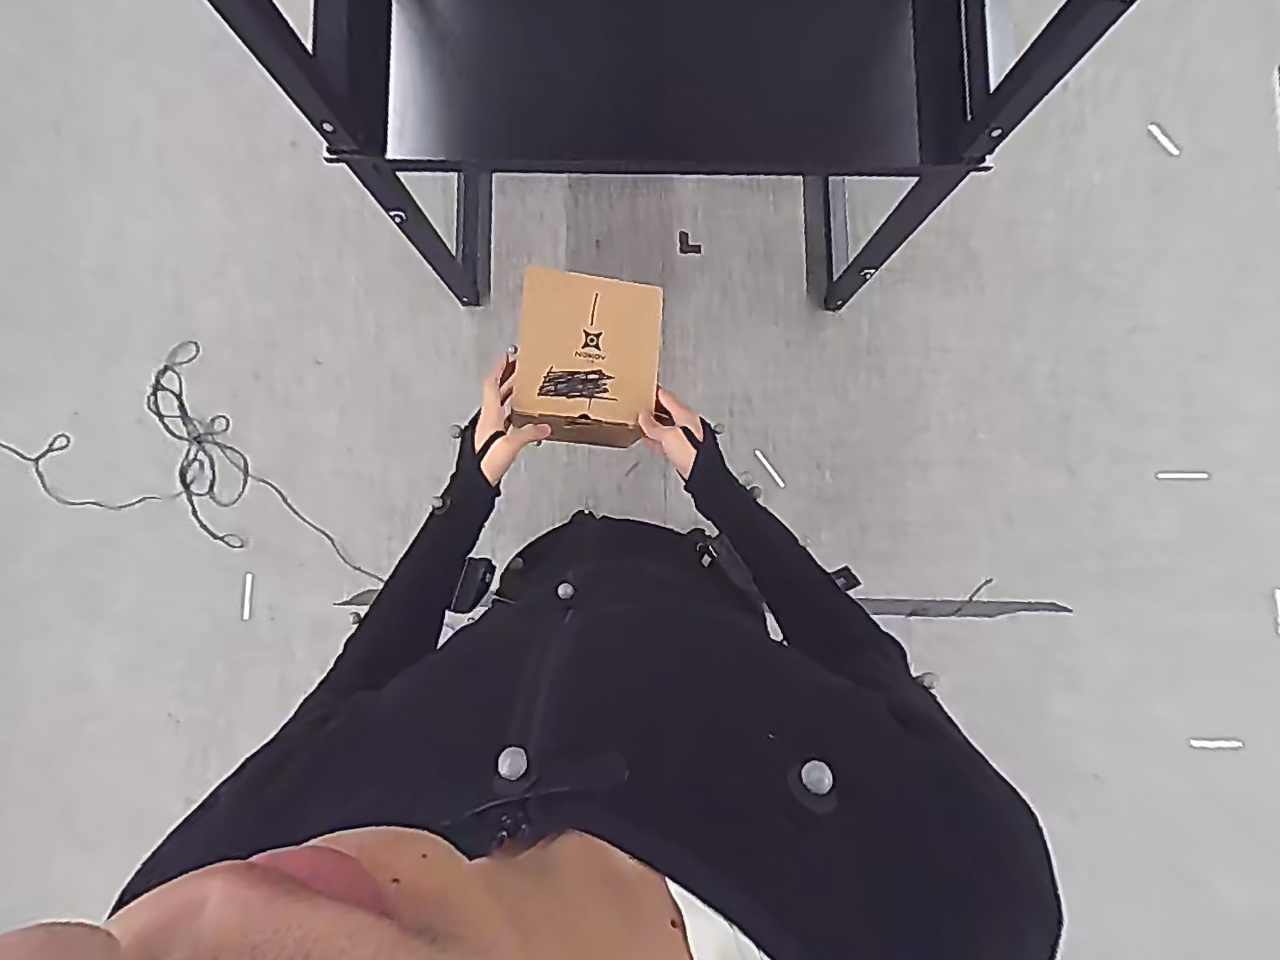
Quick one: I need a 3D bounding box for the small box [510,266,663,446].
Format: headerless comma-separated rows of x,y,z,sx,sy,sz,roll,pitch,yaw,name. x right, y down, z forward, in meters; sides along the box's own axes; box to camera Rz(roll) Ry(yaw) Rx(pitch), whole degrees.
-0.074,-0.144,0.699,0.168,0.176,0.179,5,84,-12,small box
